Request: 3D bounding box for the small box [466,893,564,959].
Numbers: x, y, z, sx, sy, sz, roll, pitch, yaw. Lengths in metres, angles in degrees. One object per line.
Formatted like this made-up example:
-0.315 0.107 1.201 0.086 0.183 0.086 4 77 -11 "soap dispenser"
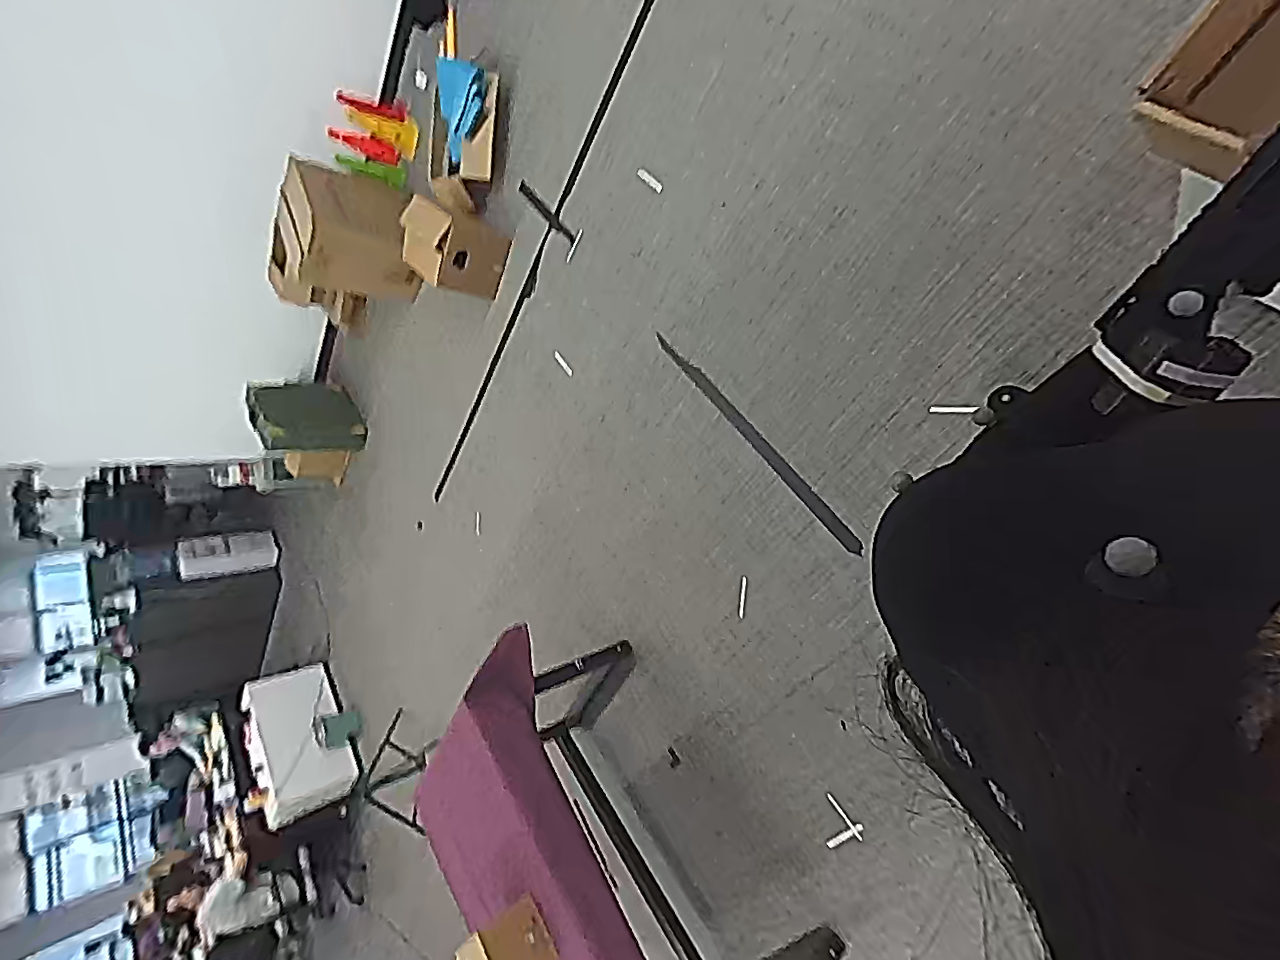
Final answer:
-0.326 1.243 1.420 0.168 0.176 0.179 50 124 29 "small box"
